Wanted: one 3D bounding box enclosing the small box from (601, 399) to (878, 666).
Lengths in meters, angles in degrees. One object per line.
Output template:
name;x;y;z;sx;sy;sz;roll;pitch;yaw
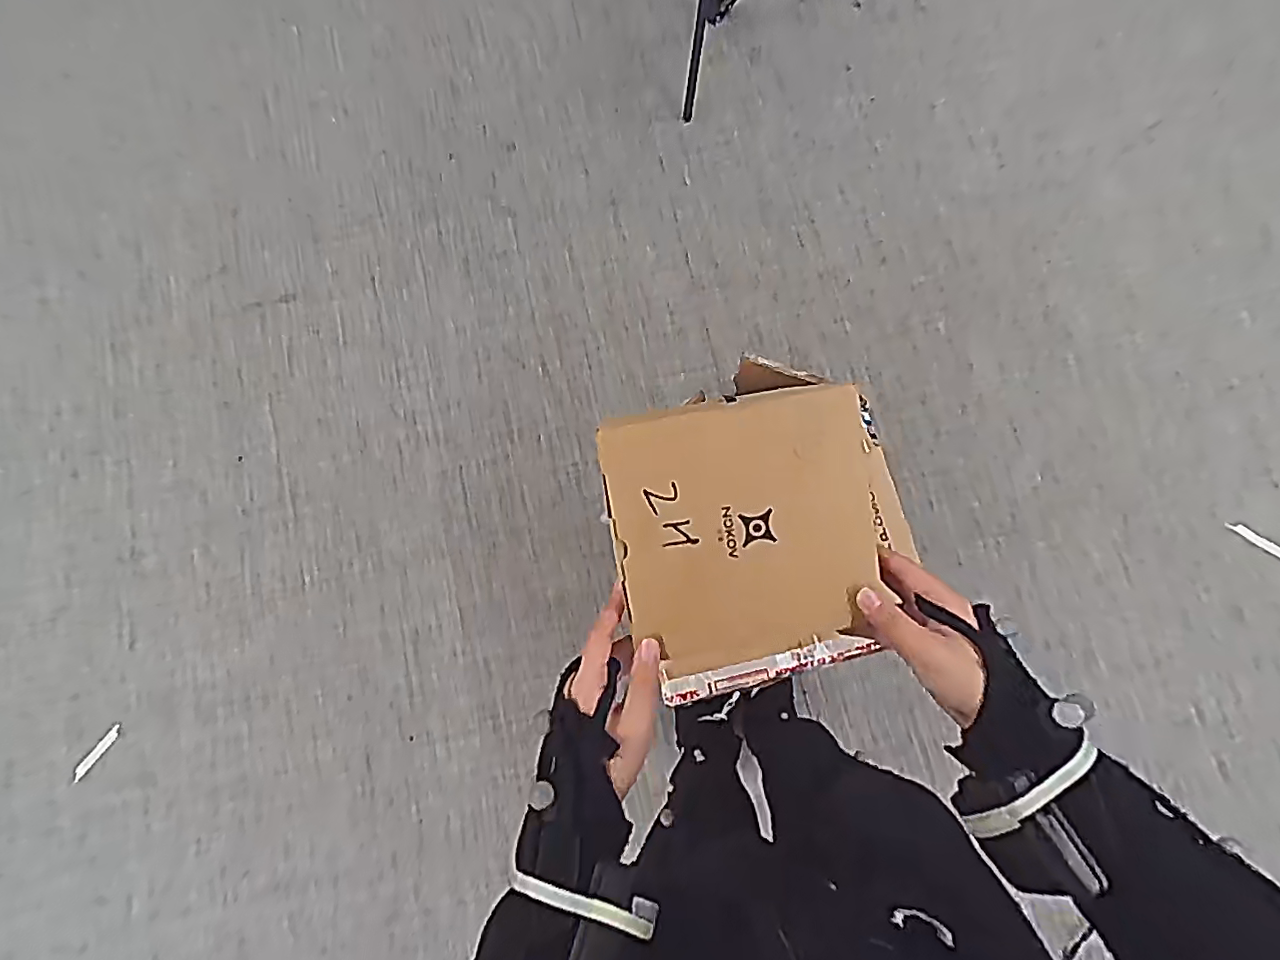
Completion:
small box;0.067;0.026;0.448;0.179;0.176;0.168;-10;97;0
